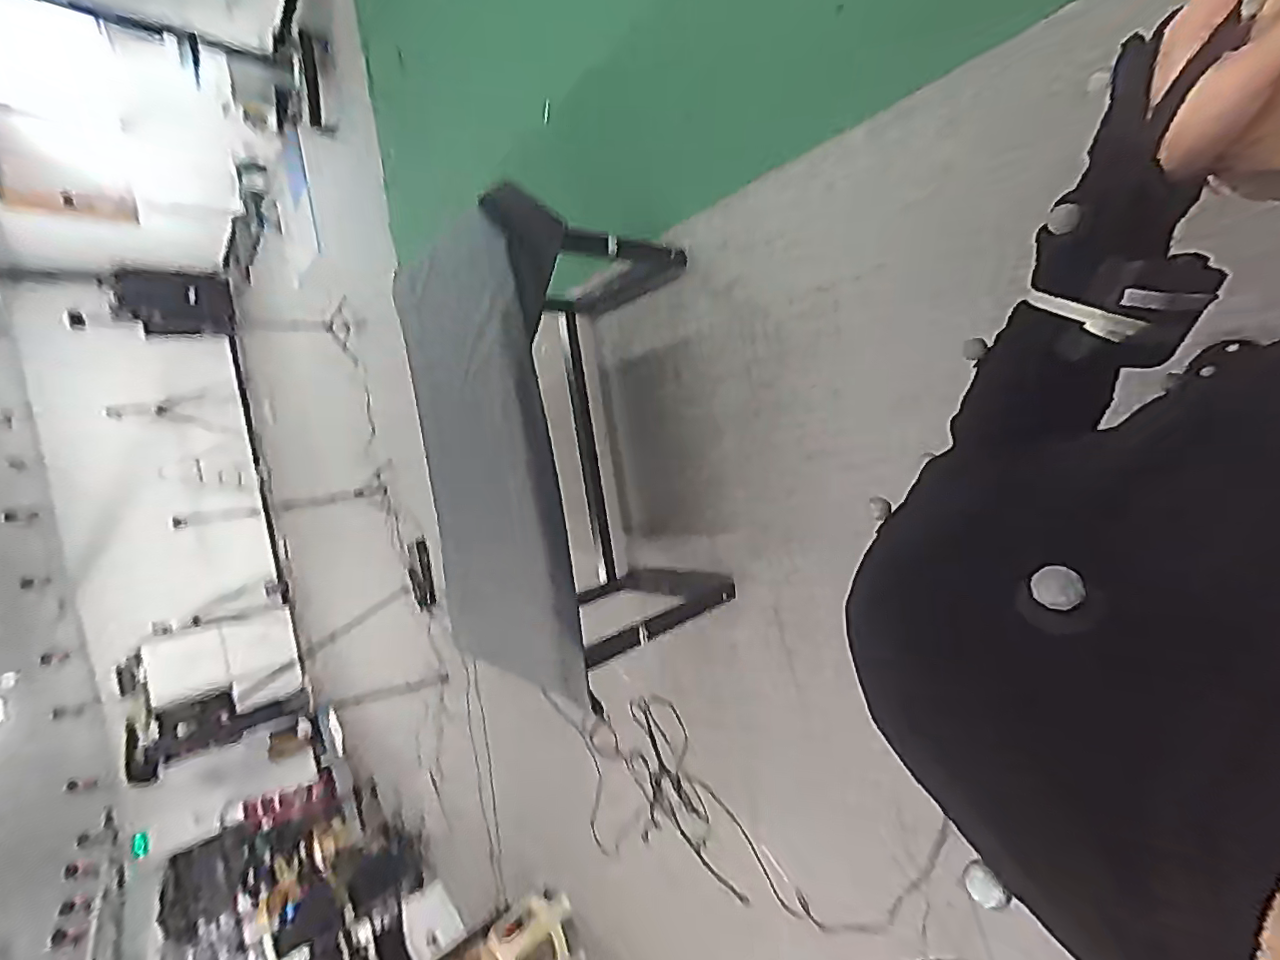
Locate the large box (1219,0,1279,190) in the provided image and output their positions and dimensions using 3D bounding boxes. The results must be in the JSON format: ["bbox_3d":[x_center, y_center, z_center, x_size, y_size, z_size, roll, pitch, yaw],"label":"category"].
[{"bbox_3d":[0.550,-0.291,0.189,0.408,0.320,0.320,26,125,41],"label":"large box"}]
